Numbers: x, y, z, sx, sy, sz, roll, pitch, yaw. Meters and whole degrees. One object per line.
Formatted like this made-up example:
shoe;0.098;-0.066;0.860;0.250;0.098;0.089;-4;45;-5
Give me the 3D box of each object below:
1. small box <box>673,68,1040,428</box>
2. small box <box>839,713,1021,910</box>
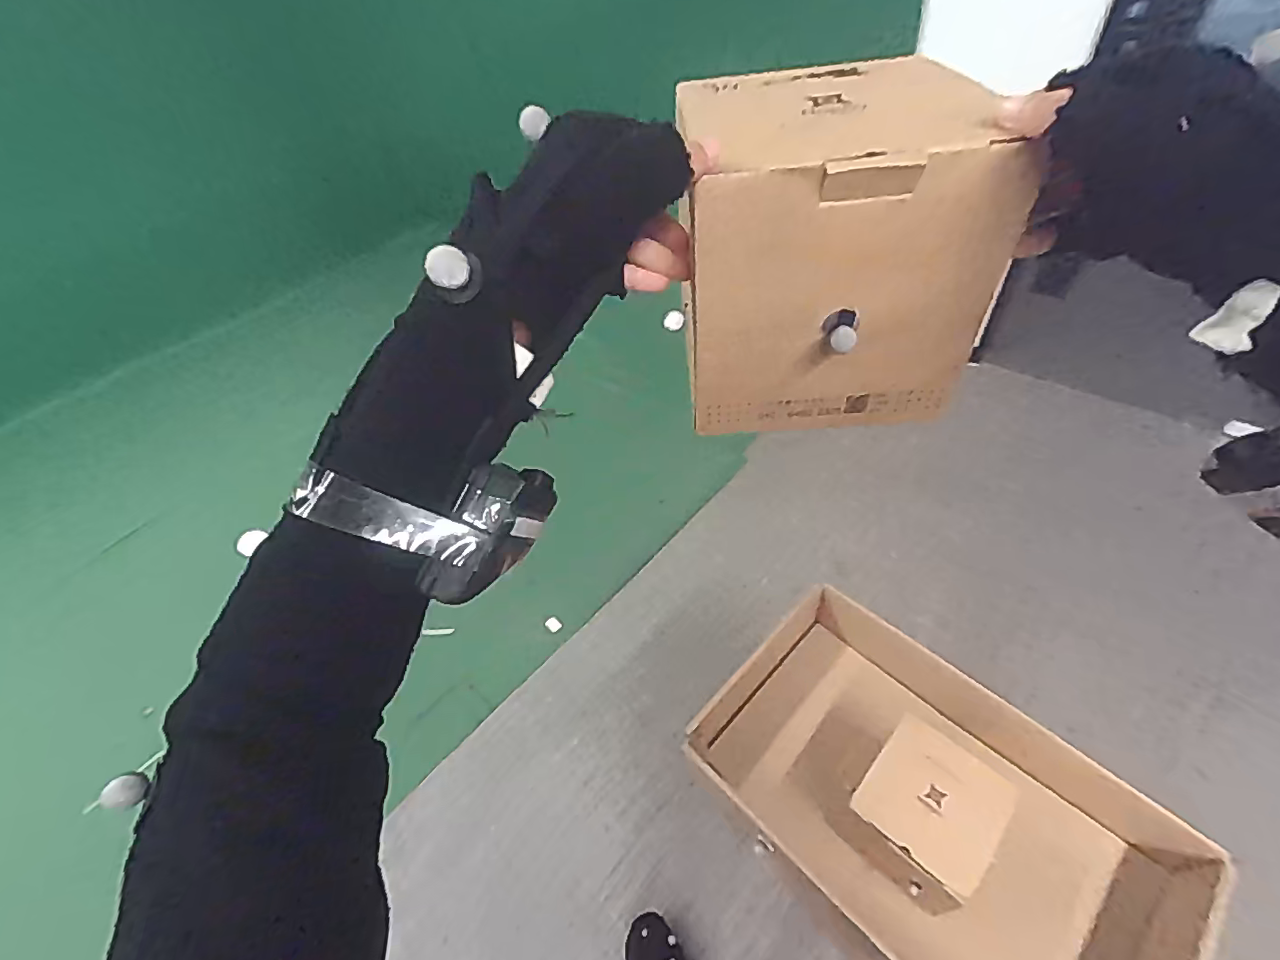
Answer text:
small box;0.112;-0.148;0.367;0.168;0.176;0.179;-4;48;3
small box;0.418;0.497;0.808;0.168;0.176;0.179;33;59;31
